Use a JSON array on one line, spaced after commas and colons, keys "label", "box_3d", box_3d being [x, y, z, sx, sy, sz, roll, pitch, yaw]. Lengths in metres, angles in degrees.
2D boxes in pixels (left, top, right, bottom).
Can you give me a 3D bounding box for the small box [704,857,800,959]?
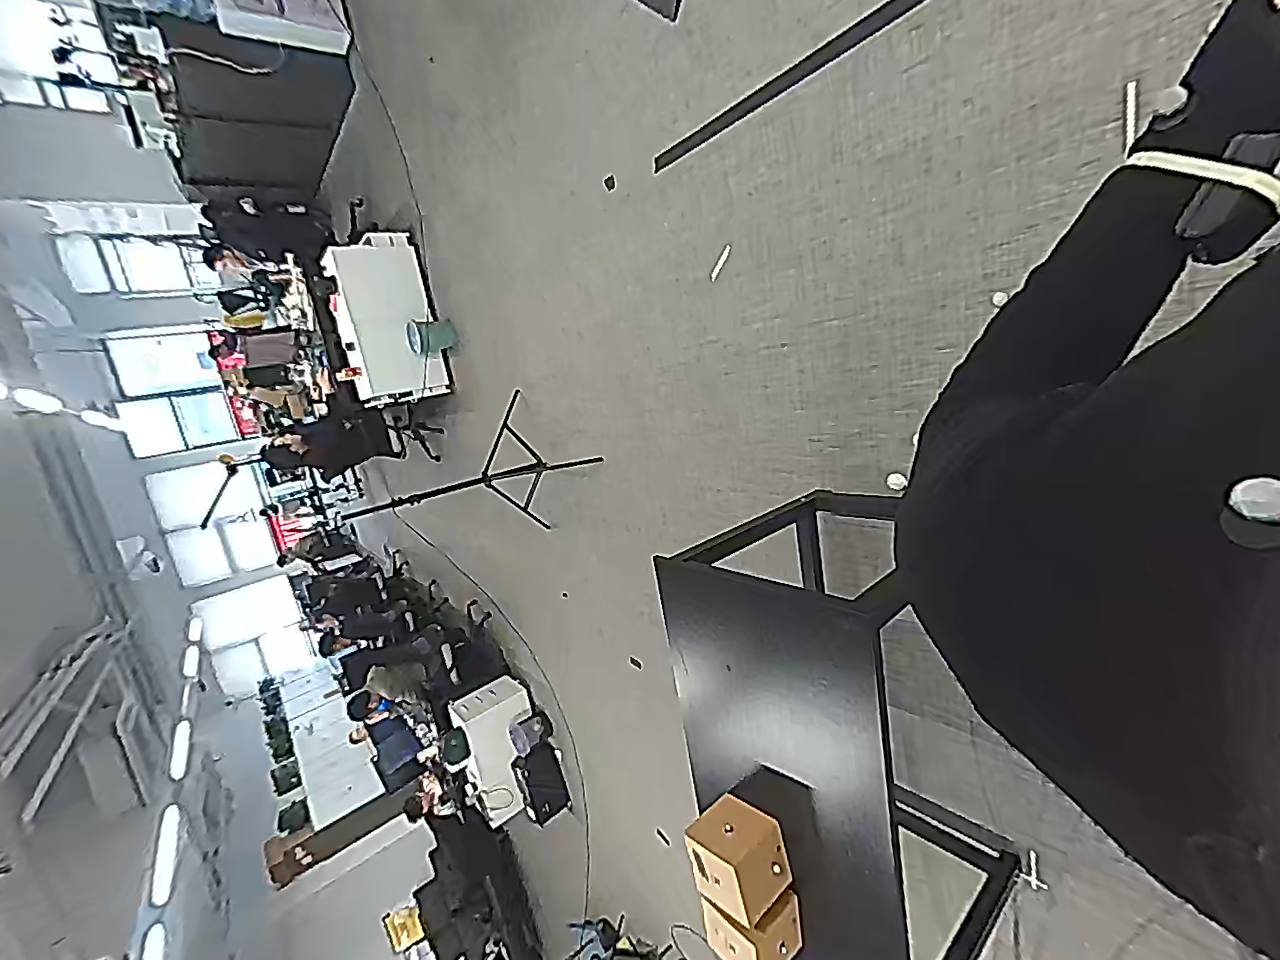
[{"label": "small box", "box_3d": [0.286, 1.104, 1.355, 0.179, 0.176, 0.168, 10, 112, 52]}]
